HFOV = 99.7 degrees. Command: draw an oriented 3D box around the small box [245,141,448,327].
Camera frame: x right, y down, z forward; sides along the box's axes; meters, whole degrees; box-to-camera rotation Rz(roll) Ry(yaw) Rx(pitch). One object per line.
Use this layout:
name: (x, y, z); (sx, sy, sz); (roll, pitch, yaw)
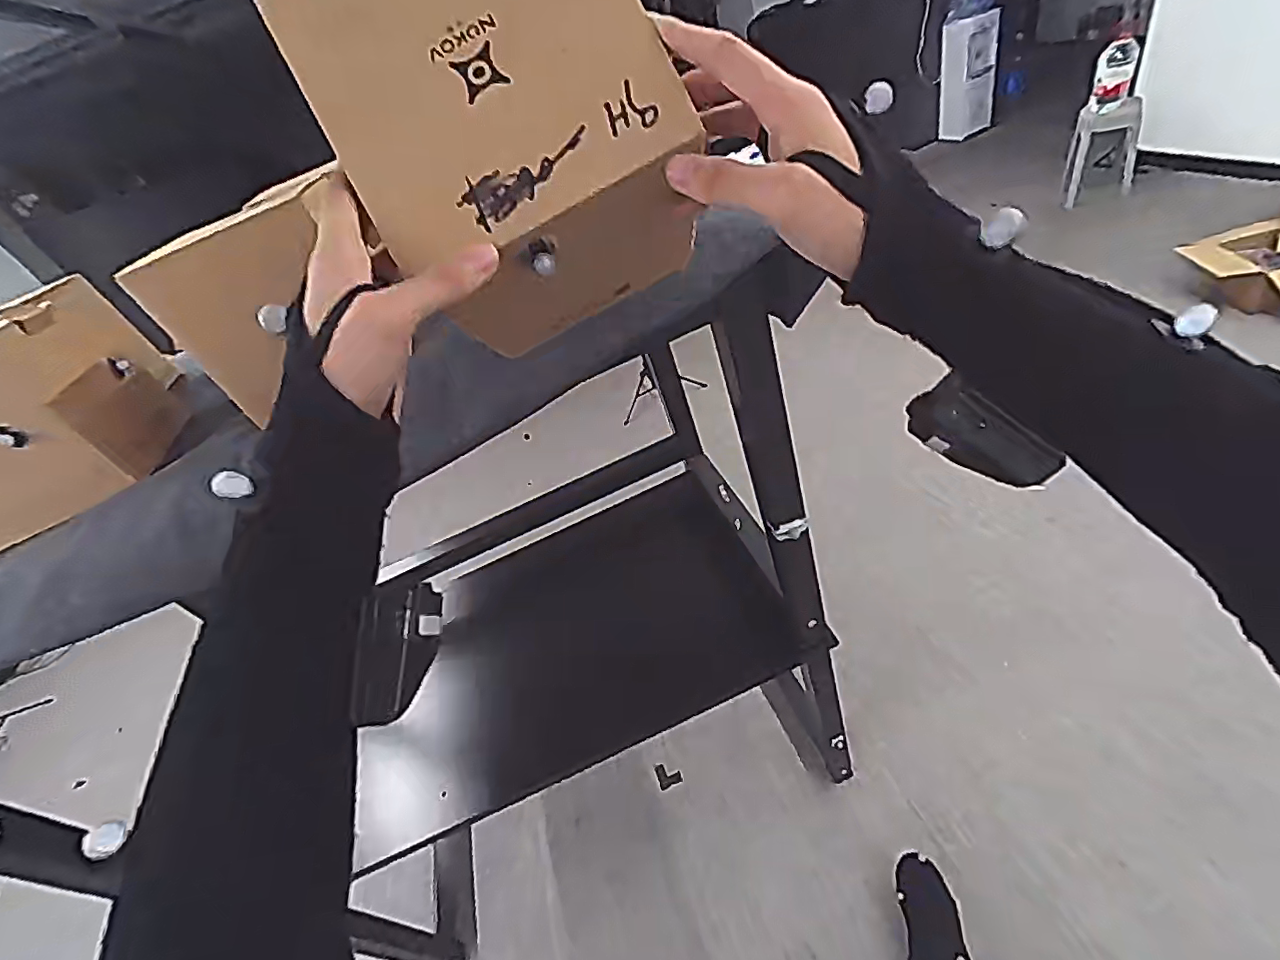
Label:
small box: (-0.380, -0.335, 0.739); (0.168, 0.176, 0.179); (-25, 39, -1)

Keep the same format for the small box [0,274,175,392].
small box: (-0.784, -0.142, 0.721); (0.168, 0.176, 0.179); (-25, 39, -2)

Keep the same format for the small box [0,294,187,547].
small box: (-0.626, -0.059, 0.551); (0.179, 0.176, 0.168); (-26, 37, -5)
